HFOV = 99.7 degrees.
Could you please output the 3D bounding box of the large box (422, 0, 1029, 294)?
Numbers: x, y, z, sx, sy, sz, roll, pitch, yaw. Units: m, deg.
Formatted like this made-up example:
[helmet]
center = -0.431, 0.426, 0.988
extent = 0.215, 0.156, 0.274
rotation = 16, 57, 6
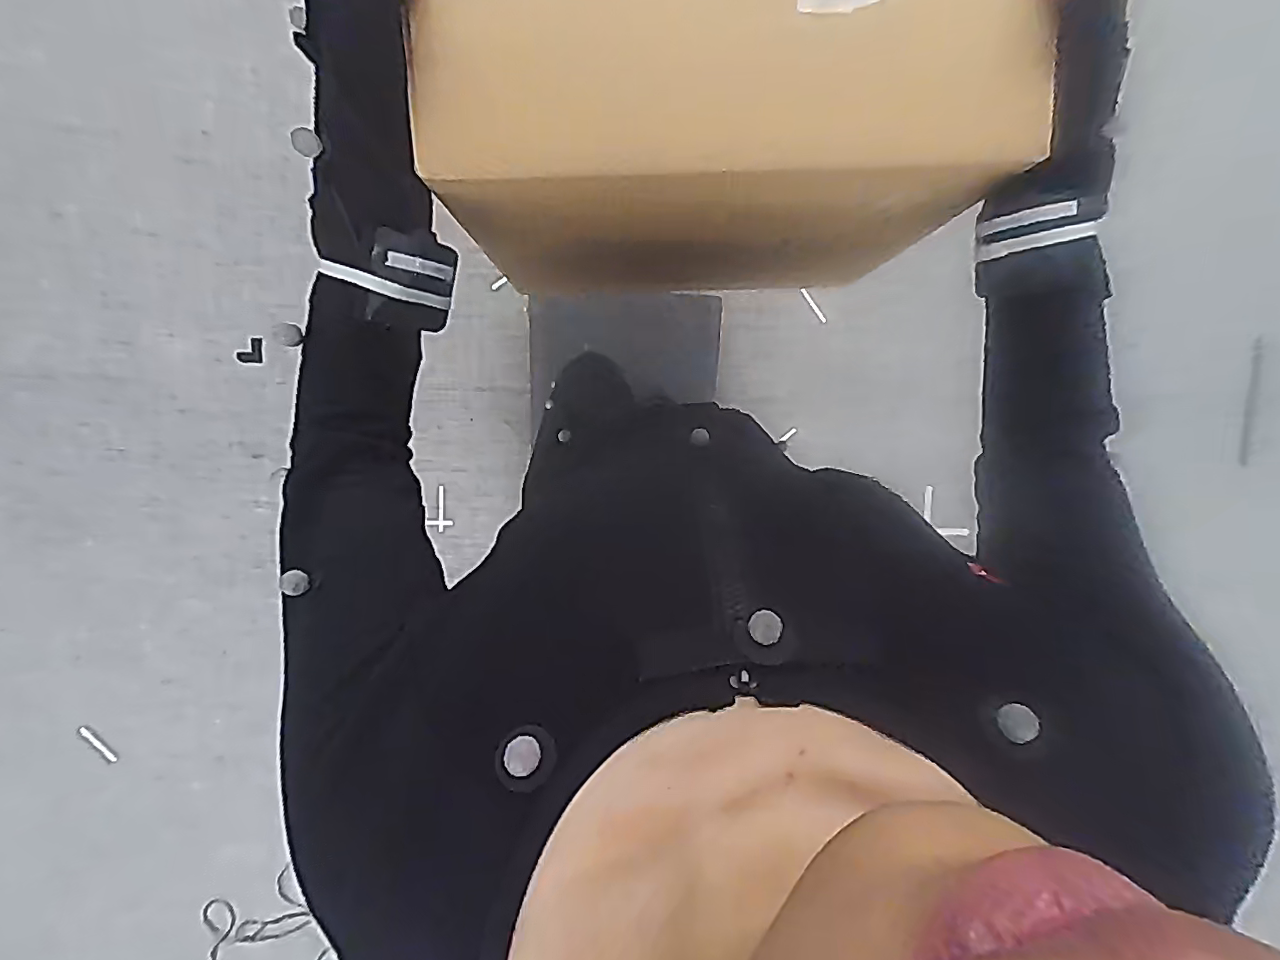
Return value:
[large box]
center = 0.050, -0.374, 0.496
extent = 0.408, 0.320, 0.320
rotation = -2, 96, -1
